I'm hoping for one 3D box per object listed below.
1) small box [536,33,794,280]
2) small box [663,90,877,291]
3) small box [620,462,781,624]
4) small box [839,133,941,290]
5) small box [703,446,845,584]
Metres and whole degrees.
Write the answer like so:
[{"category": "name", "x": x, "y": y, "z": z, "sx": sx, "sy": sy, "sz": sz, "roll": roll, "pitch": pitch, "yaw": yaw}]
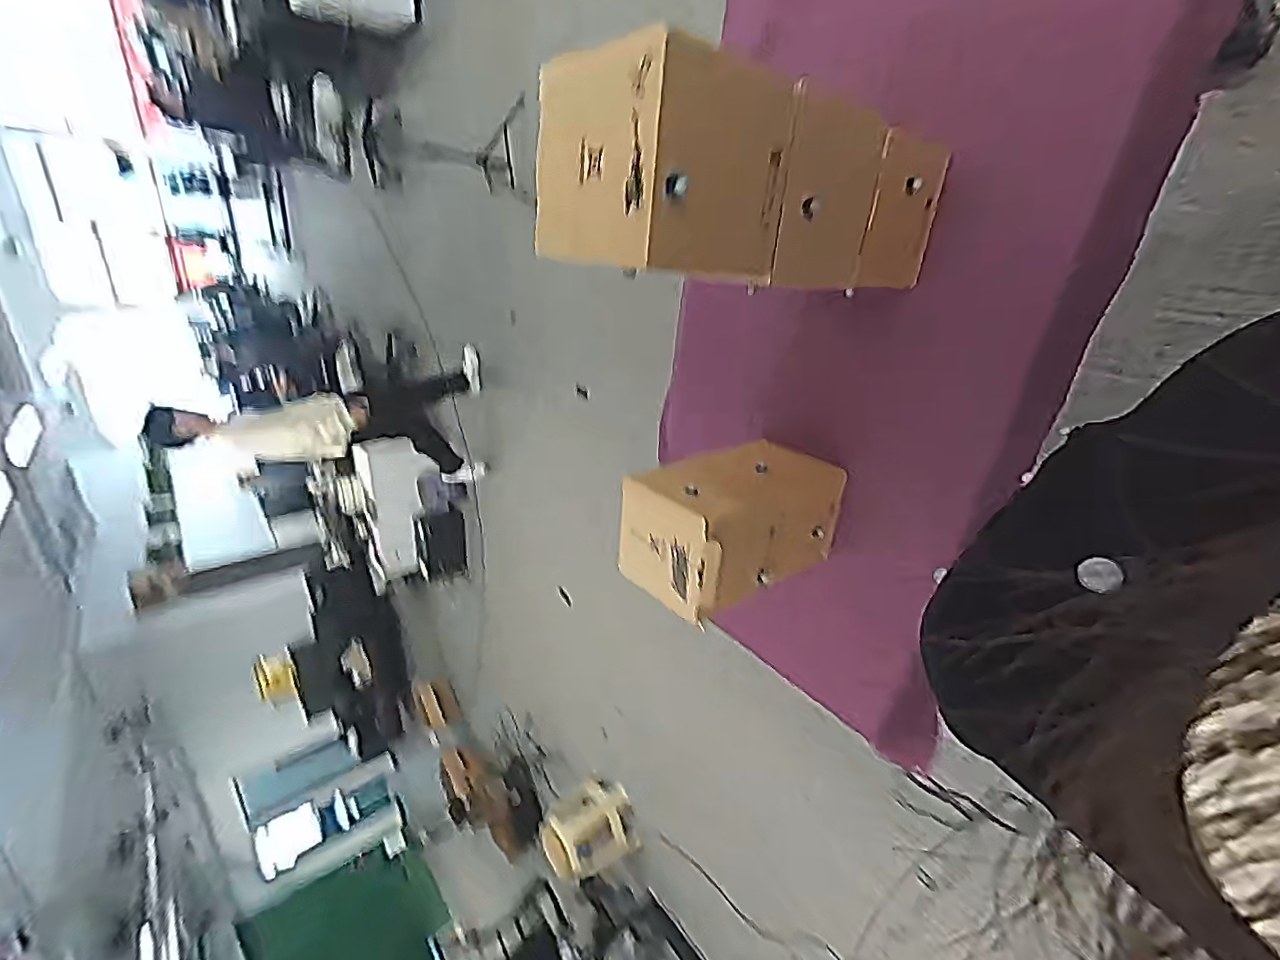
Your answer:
[{"category": "small box", "x": 0.017, "y": -0.290, "z": 0.522, "sx": 0.179, "sy": 0.176, "sz": 0.168, "roll": 29, "pitch": 123, "yaw": 43}, {"category": "small box", "x": 0.144, "y": -0.317, "z": 0.622, "sx": 0.168, "sy": 0.176, "sz": 0.179, "roll": 27, "pitch": 122, "yaw": 42}, {"category": "small box", "x": 0.090, "y": 0.081, "z": 0.823, "sx": 0.179, "sy": 0.176, "sz": 0.168, "roll": 27, "pitch": 121, "yaw": 44}, {"category": "small box", "x": 0.267, "y": -0.352, "z": 0.725, "sx": 0.179, "sy": 0.176, "sz": 0.168, "roll": 29, "pitch": 123, "yaw": 43}, {"category": "small box", "x": 0.215, "y": 0.047, "z": 0.924, "sx": 0.179, "sy": 0.176, "sz": 0.168, "roll": 27, "pitch": 122, "yaw": 42}]
